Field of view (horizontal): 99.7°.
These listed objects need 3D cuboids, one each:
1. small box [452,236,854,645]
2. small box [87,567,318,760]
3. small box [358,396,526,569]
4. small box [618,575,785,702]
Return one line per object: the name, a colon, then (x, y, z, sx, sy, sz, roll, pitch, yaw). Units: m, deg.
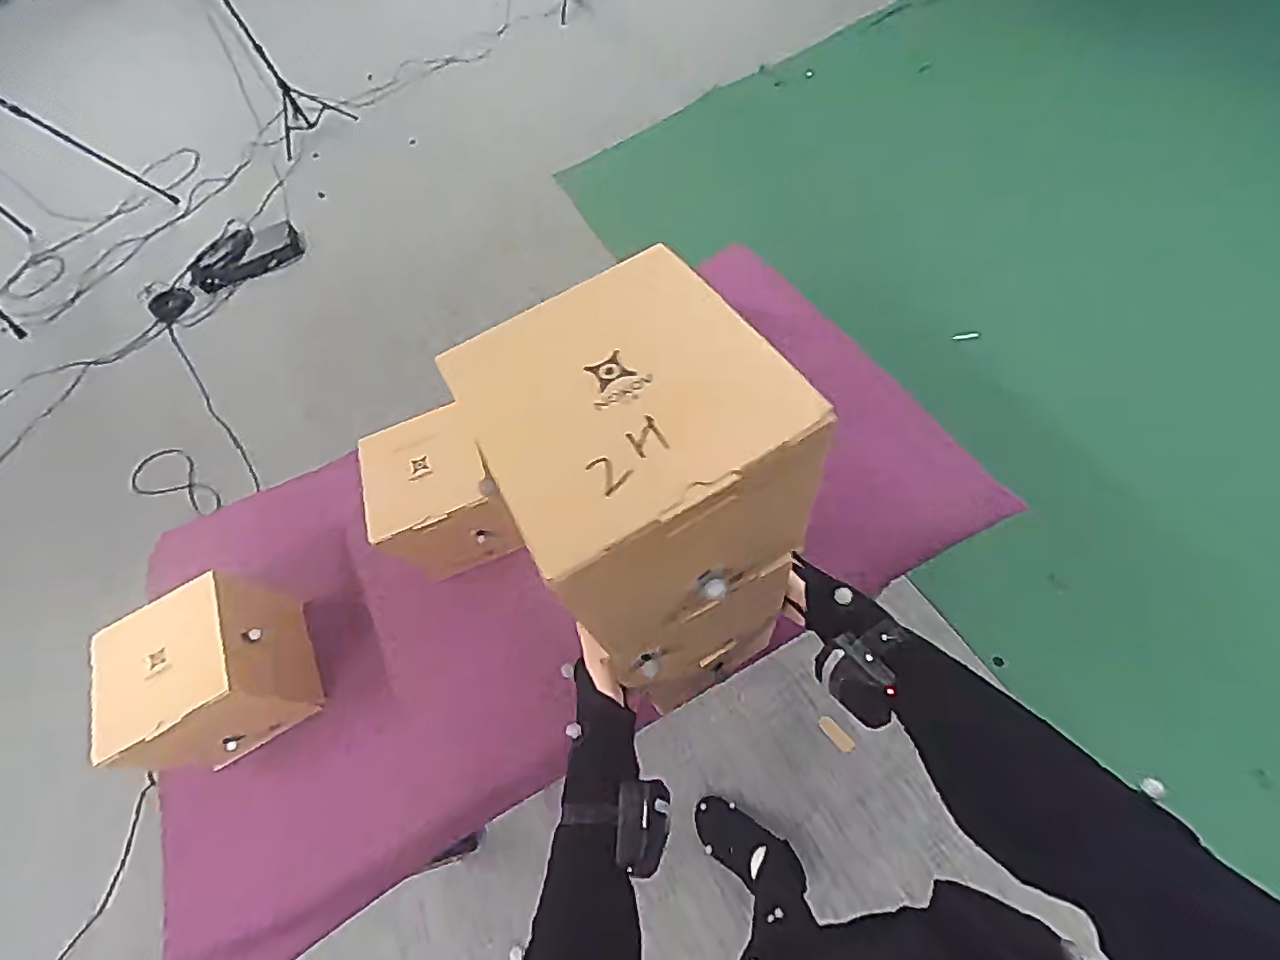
small box: (0.006, -0.018, 0.362, 0.168, 0.176, 0.179, -29, 60, -7)
small box: (-0.572, 0.251, 0.723, 0.168, 0.176, 0.179, -30, 62, -6)
small box: (-0.282, 0.015, 0.793, 0.168, 0.176, 0.179, -21, 61, -2)
small box: (0.047, 0.146, 0.647, 0.168, 0.176, 0.179, -29, 62, -10)
